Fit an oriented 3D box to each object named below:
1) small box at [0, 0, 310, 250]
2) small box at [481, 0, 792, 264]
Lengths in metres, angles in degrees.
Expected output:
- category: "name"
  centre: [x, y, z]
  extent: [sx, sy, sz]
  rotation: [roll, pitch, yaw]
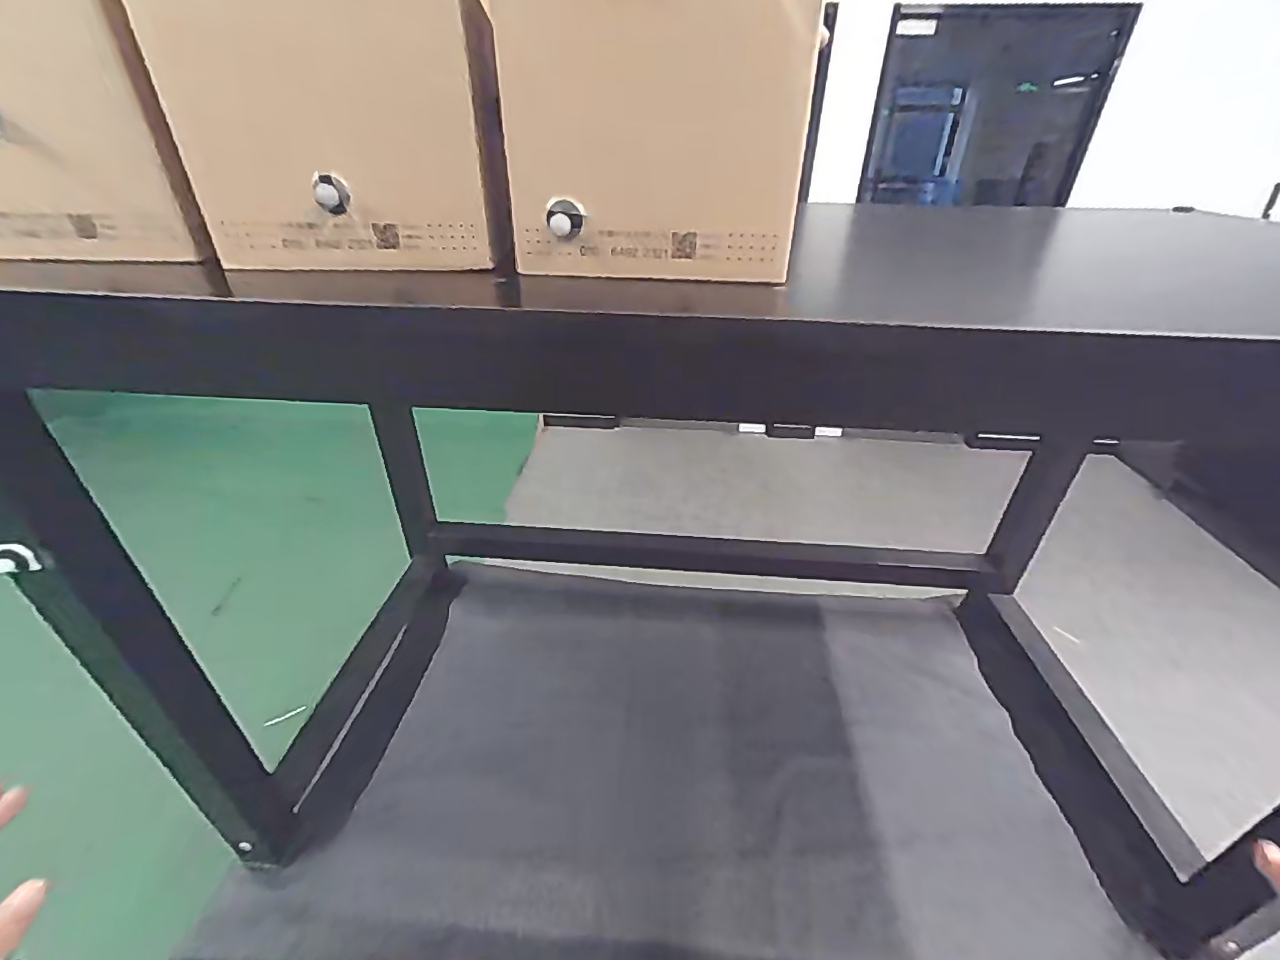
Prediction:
- category: "small box"
  centre: [-0.373, -0.267, 0.388]
  extent: [0.168, 0.176, 0.179]
  rotation: [1, 31, -3]
- category: "small box"
  centre: [0.008, -0.250, 0.369]
  extent: [0.168, 0.176, 0.179]
  rotation: [5, 31, 6]
